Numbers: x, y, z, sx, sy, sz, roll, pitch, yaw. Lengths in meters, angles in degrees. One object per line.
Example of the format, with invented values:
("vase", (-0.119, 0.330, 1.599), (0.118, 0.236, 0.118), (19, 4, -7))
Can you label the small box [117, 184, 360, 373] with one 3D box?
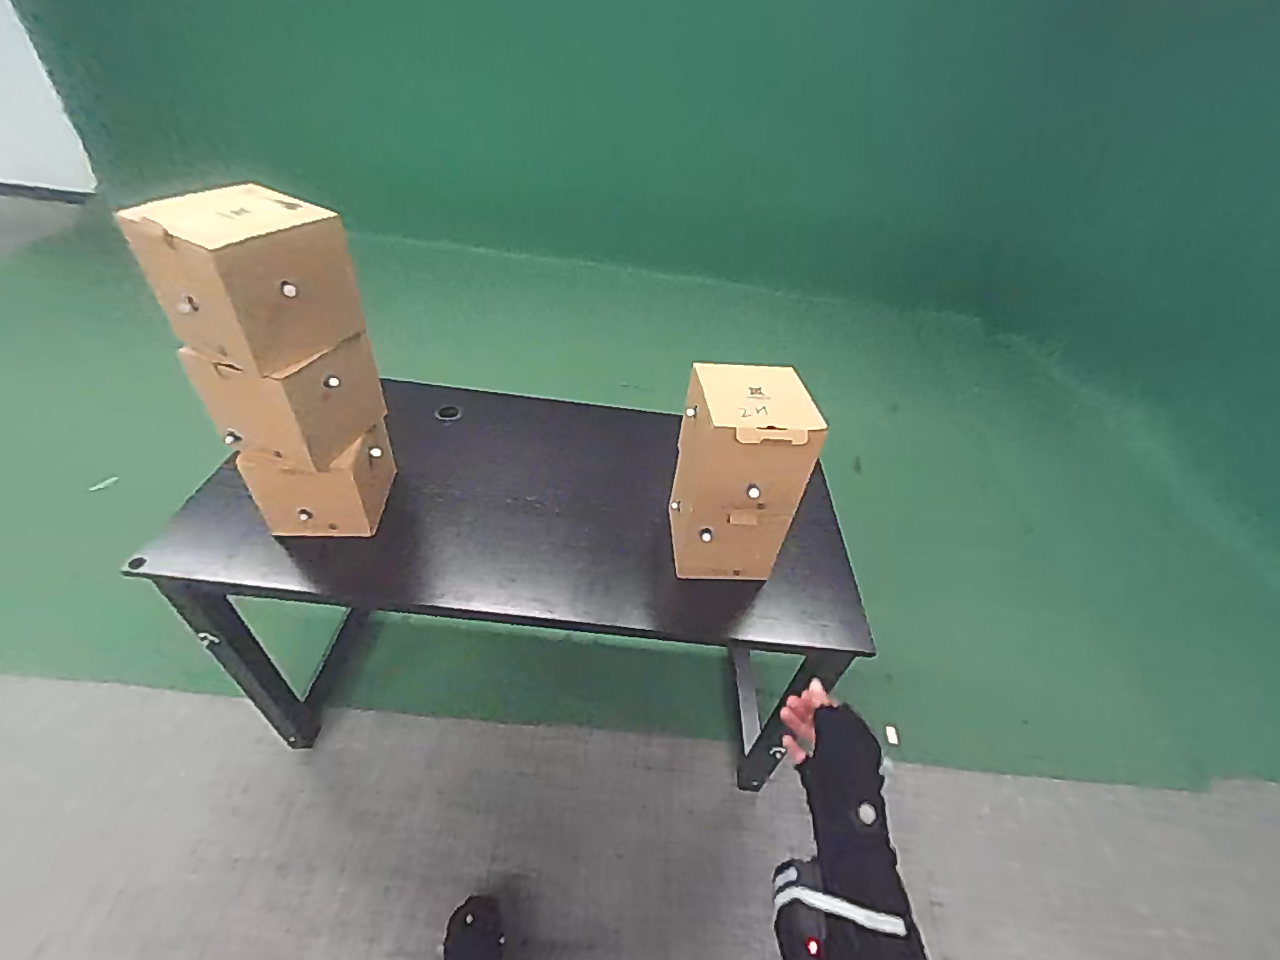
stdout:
("small box", (-0.512, -0.268, 0.722), (0.168, 0.176, 0.179), (24, 46, 14))

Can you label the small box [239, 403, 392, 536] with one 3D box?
("small box", (-0.544, -0.024, 0.940), (0.168, 0.176, 0.179), (1, 44, -9))

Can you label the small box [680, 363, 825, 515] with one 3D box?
("small box", (0.162, -0.065, 0.853), (0.168, 0.176, 0.179), (1, 43, -7))

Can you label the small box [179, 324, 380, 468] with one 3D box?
("small box", (-0.529, -0.144, 0.829), (0.168, 0.176, 0.179), (16, 43, 7))
